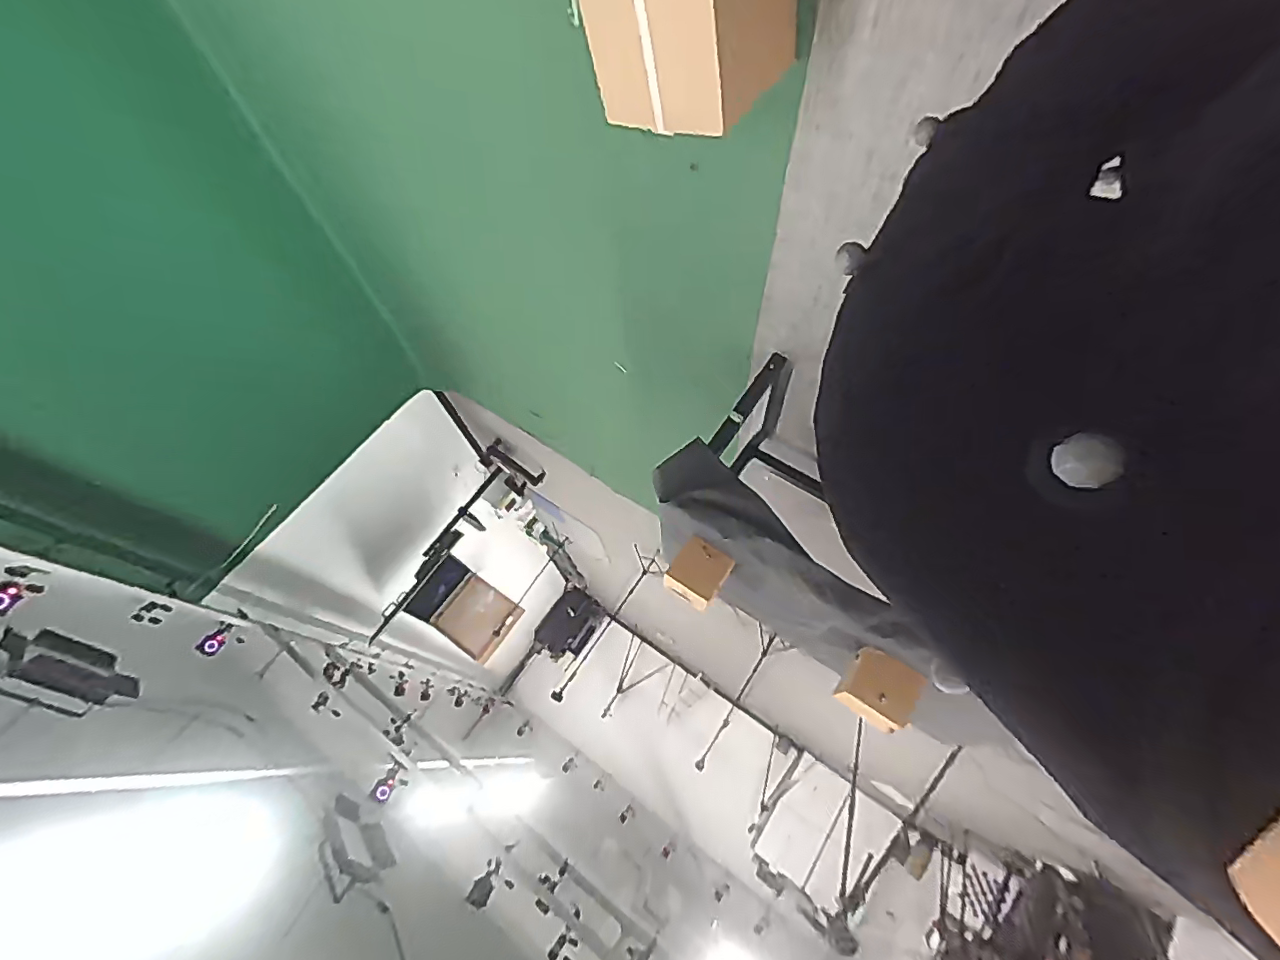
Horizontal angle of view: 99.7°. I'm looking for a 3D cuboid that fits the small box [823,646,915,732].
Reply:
[{"bbox_3d":[0.680,0.621,1.607,0.179,0.176,0.168,32,159,17],"label":"small box"}]
